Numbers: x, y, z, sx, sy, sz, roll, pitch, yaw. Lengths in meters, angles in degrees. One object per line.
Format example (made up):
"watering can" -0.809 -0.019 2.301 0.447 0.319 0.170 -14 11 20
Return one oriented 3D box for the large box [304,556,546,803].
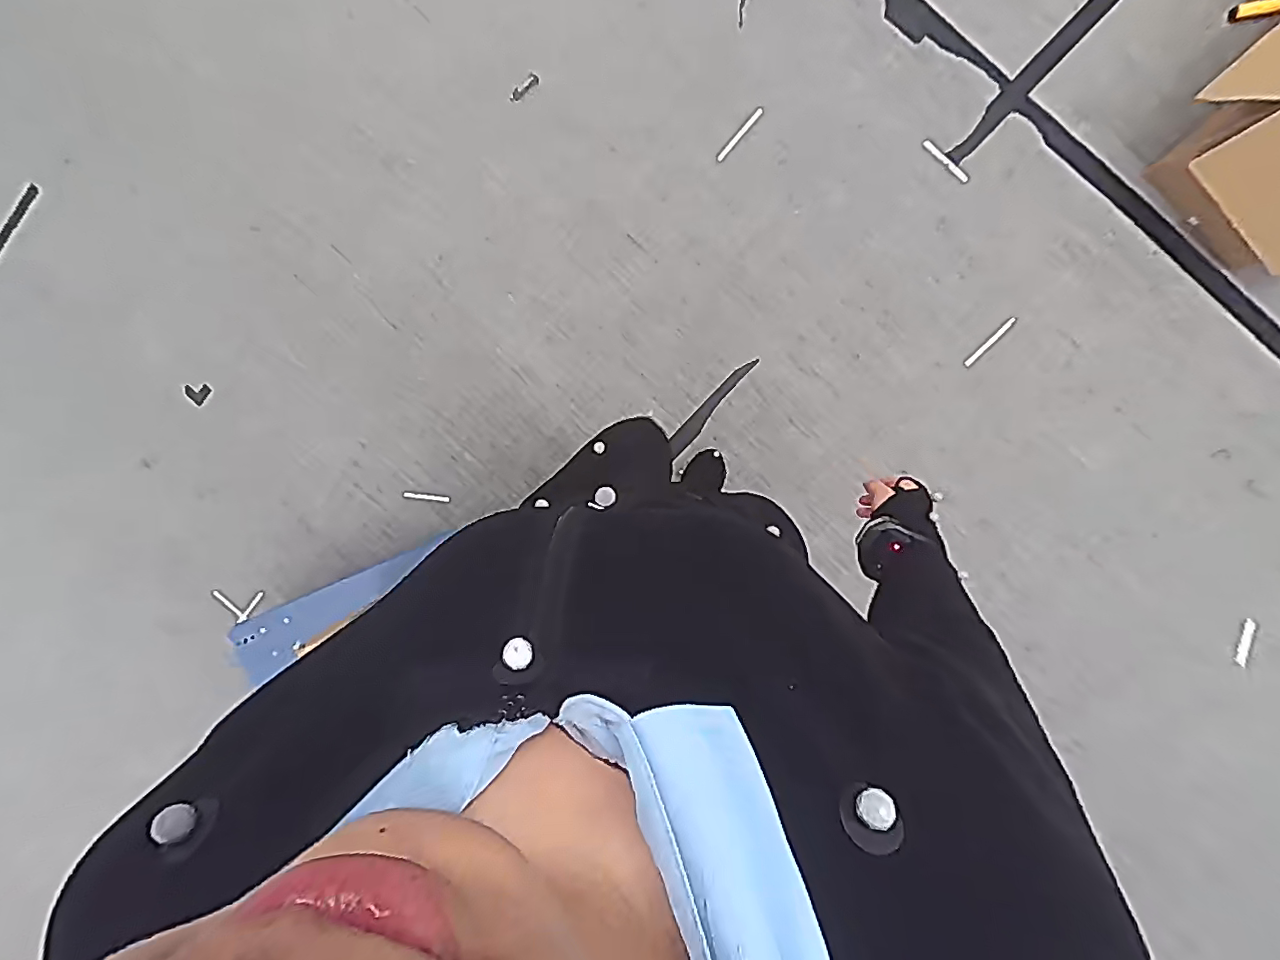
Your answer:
"large box" -0.477 0.448 1.283 0.320 0.320 0.408 -23 94 8
